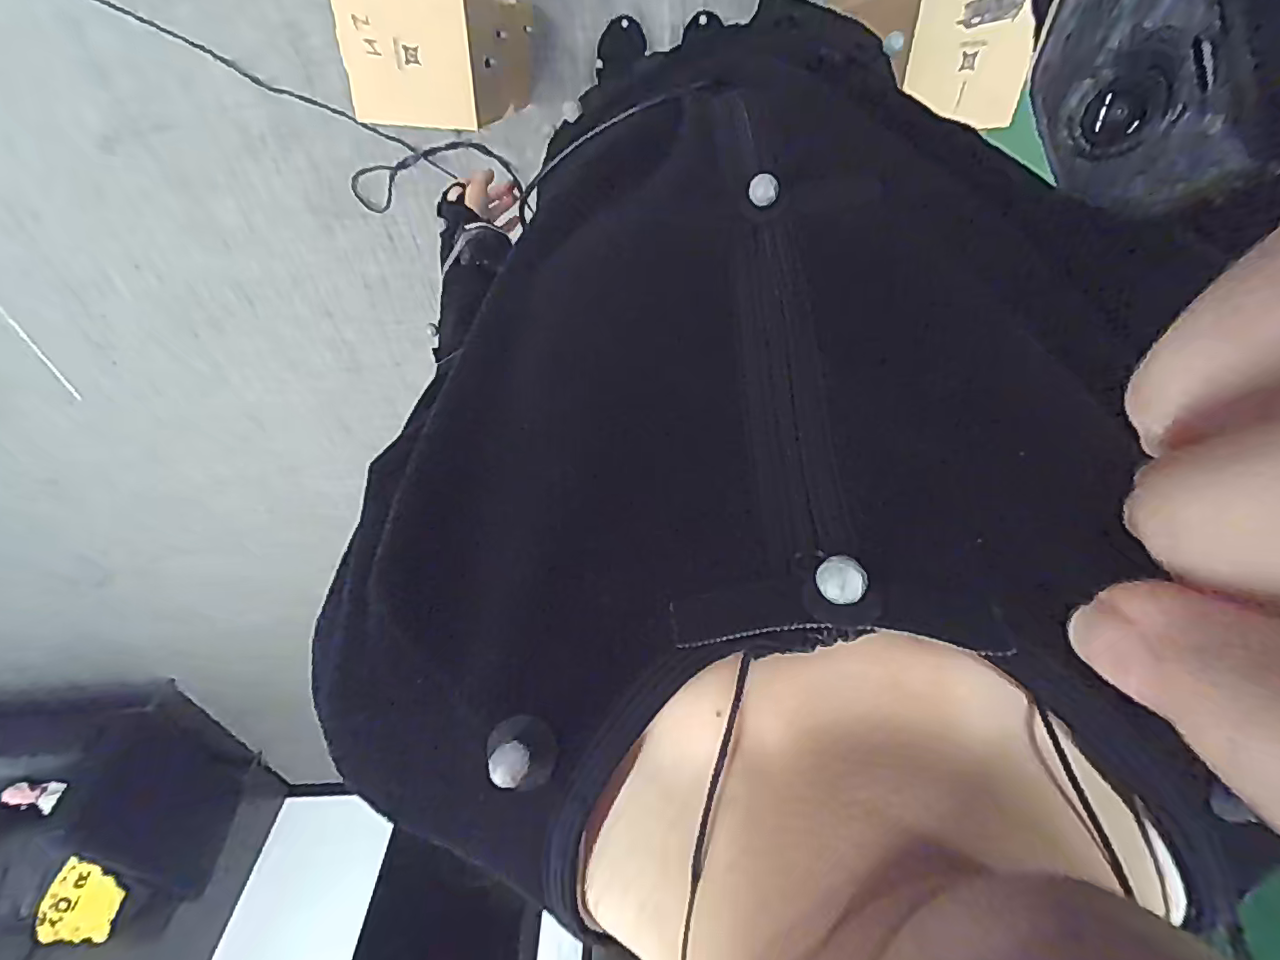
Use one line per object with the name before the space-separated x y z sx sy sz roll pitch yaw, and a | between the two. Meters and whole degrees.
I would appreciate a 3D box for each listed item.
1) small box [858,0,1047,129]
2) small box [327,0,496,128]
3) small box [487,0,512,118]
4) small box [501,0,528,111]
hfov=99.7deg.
small box | 0.431 -0.618 0.772 0.168 0.176 0.179 -2 131 1
small box | -0.312 -0.620 0.777 0.179 0.176 0.168 4 128 -1
small box | -0.320 -0.726 0.904 0.168 0.176 0.179 14 128 -9
small box | -0.310 -0.831 1.026 0.168 0.176 0.179 9 130 -6
